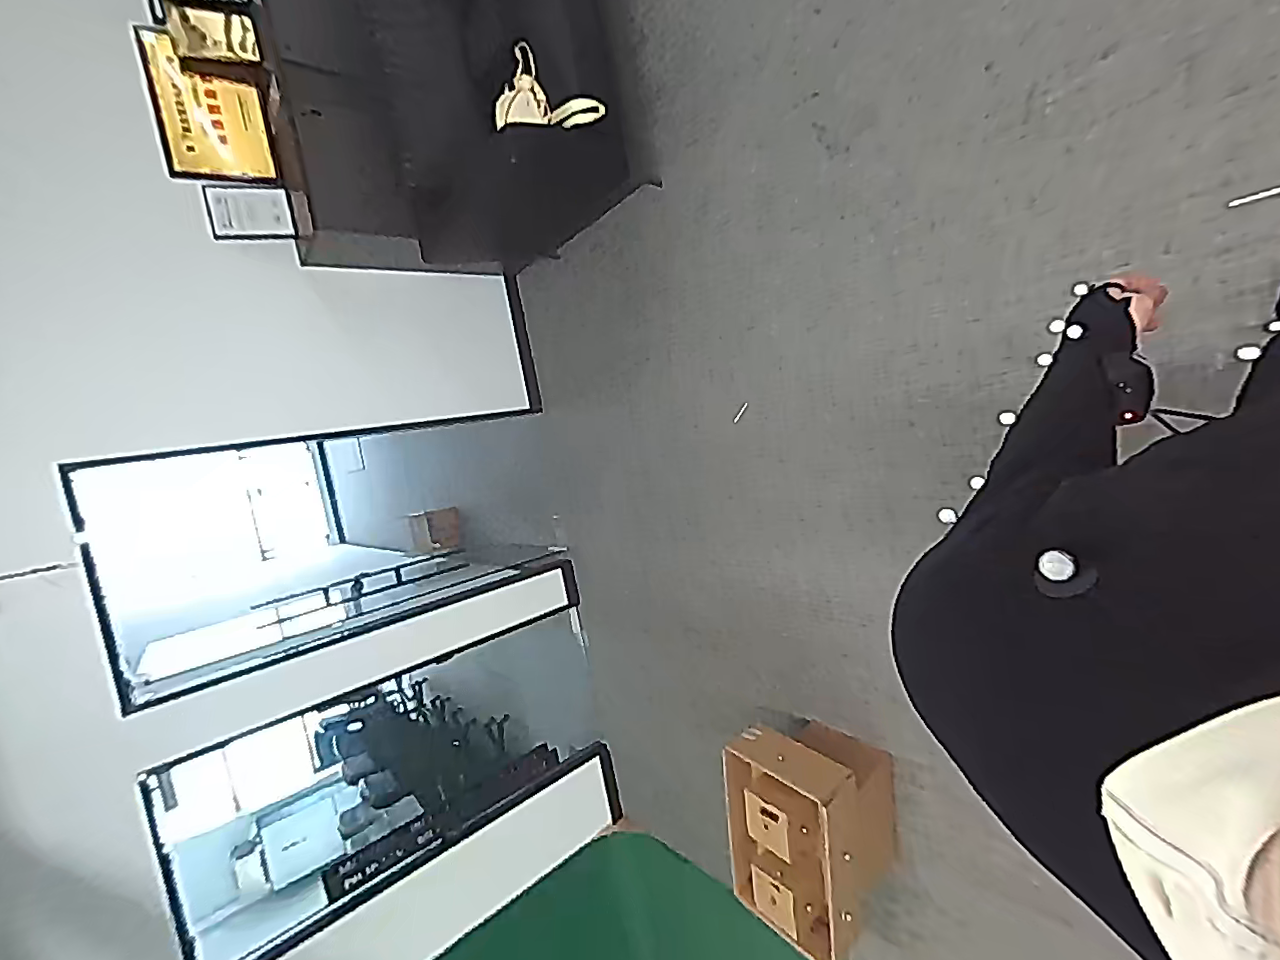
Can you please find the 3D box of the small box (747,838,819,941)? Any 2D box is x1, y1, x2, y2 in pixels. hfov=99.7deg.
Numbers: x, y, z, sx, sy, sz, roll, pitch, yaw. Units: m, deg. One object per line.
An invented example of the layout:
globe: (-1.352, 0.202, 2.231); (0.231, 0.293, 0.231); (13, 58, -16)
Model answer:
small box: (0.480, 1.352, 1.799); (0.168, 0.176, 0.179); (2, 102, 50)
